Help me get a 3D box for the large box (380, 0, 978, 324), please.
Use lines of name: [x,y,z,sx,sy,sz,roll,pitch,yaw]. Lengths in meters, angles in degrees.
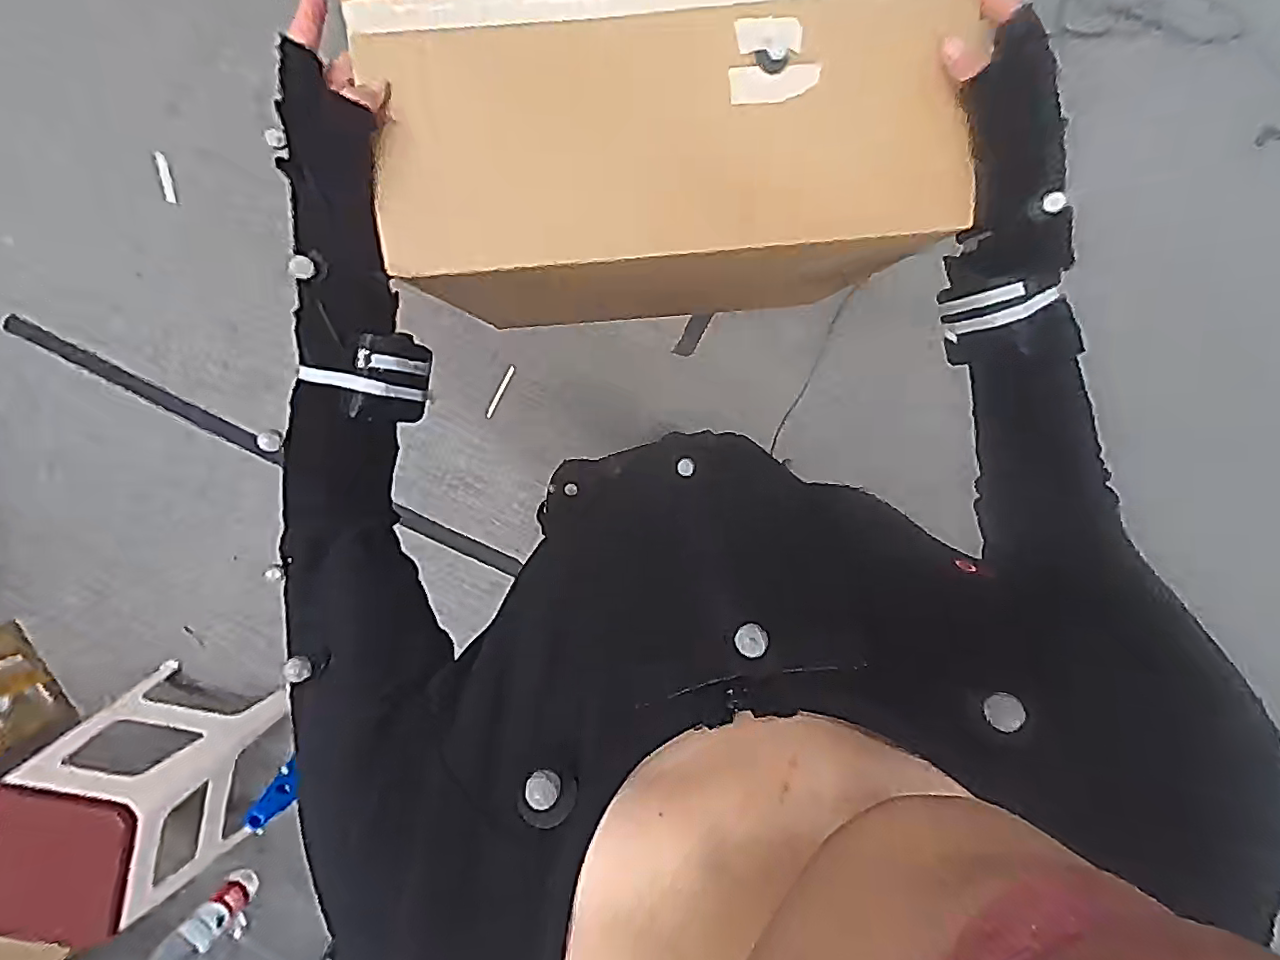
large box: [0.020,-0.338,0.503,0.408,0.320,0.320,-5,100,-2]
